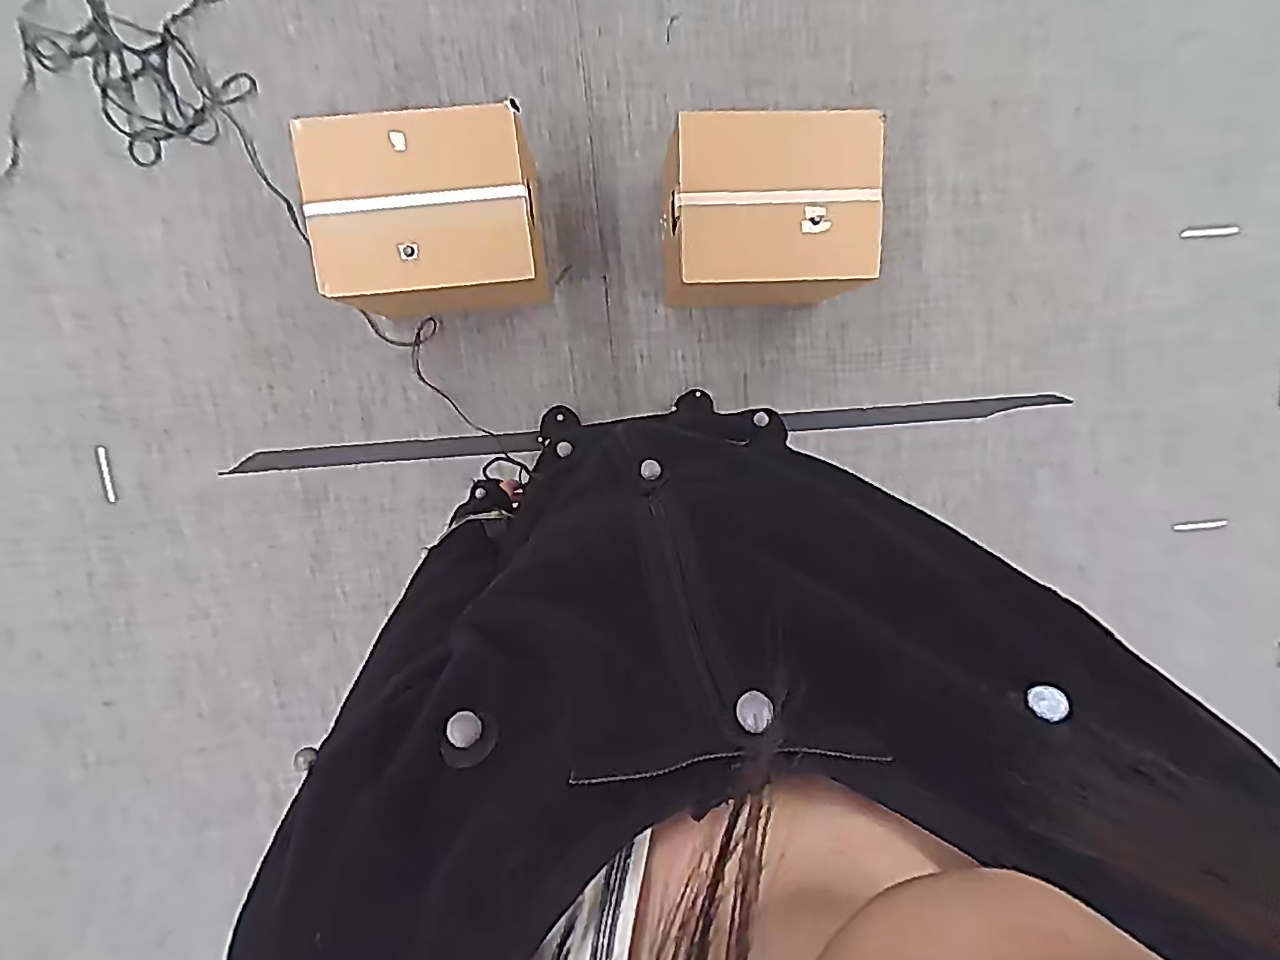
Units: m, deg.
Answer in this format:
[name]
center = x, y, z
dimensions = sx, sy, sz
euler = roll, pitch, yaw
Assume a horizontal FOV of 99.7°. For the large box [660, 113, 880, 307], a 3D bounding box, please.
[large box]
center = 0.265, -0.577, 1.211
dimensions = 0.408, 0.320, 0.320
euler = -3, 99, -4
